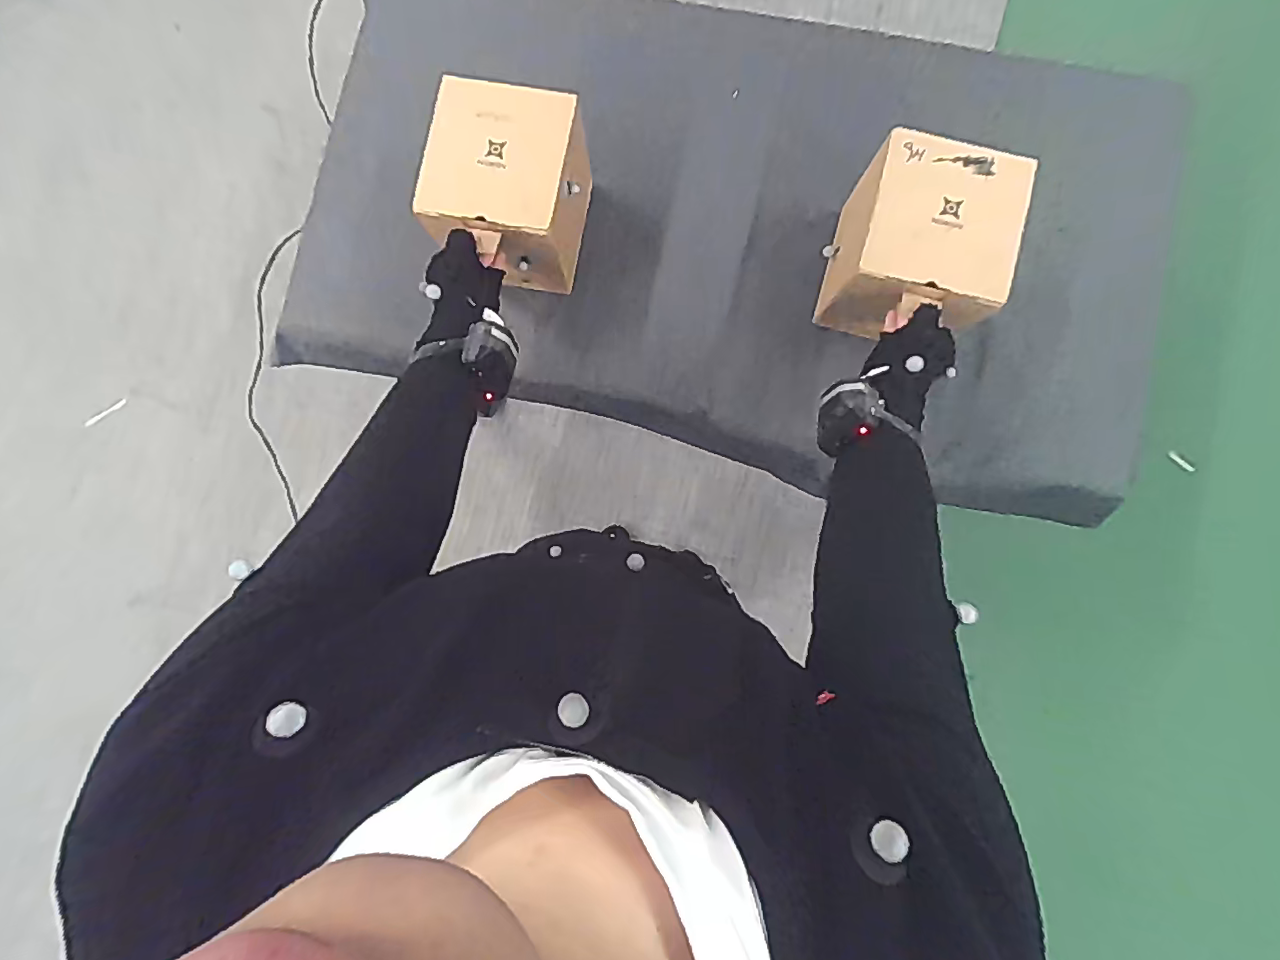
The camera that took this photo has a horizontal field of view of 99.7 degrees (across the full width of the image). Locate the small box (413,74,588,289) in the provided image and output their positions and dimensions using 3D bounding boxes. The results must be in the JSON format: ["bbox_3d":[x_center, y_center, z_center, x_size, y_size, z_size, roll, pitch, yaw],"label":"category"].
[{"bbox_3d":[-0.167,-0.374,0.708,0.168,0.176,0.179,10,84,1],"label":"small box"}]

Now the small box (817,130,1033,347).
[{"bbox_3d":[0.339,-0.285,0.680,0.168,0.176,0.179,15,87,2],"label":"small box"}]
